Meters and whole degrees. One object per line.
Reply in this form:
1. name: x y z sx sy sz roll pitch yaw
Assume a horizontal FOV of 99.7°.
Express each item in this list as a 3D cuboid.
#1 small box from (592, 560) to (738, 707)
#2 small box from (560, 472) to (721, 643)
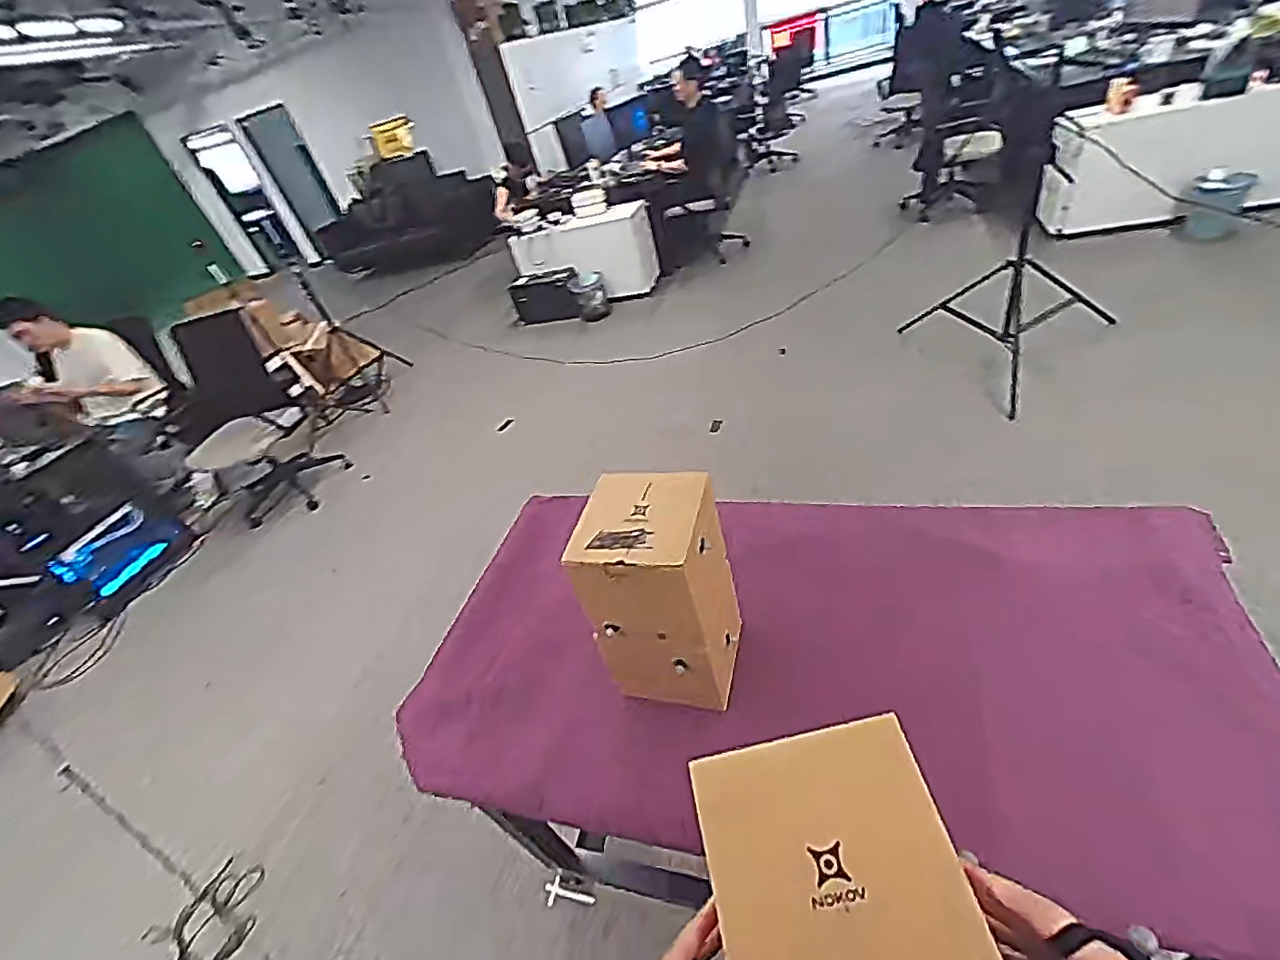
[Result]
1. small box: 0.052 0.237 0.857 0.179 0.176 0.168 0 41 22
2. small box: 0.014 0.108 0.762 0.168 0.176 0.179 -1 40 20
